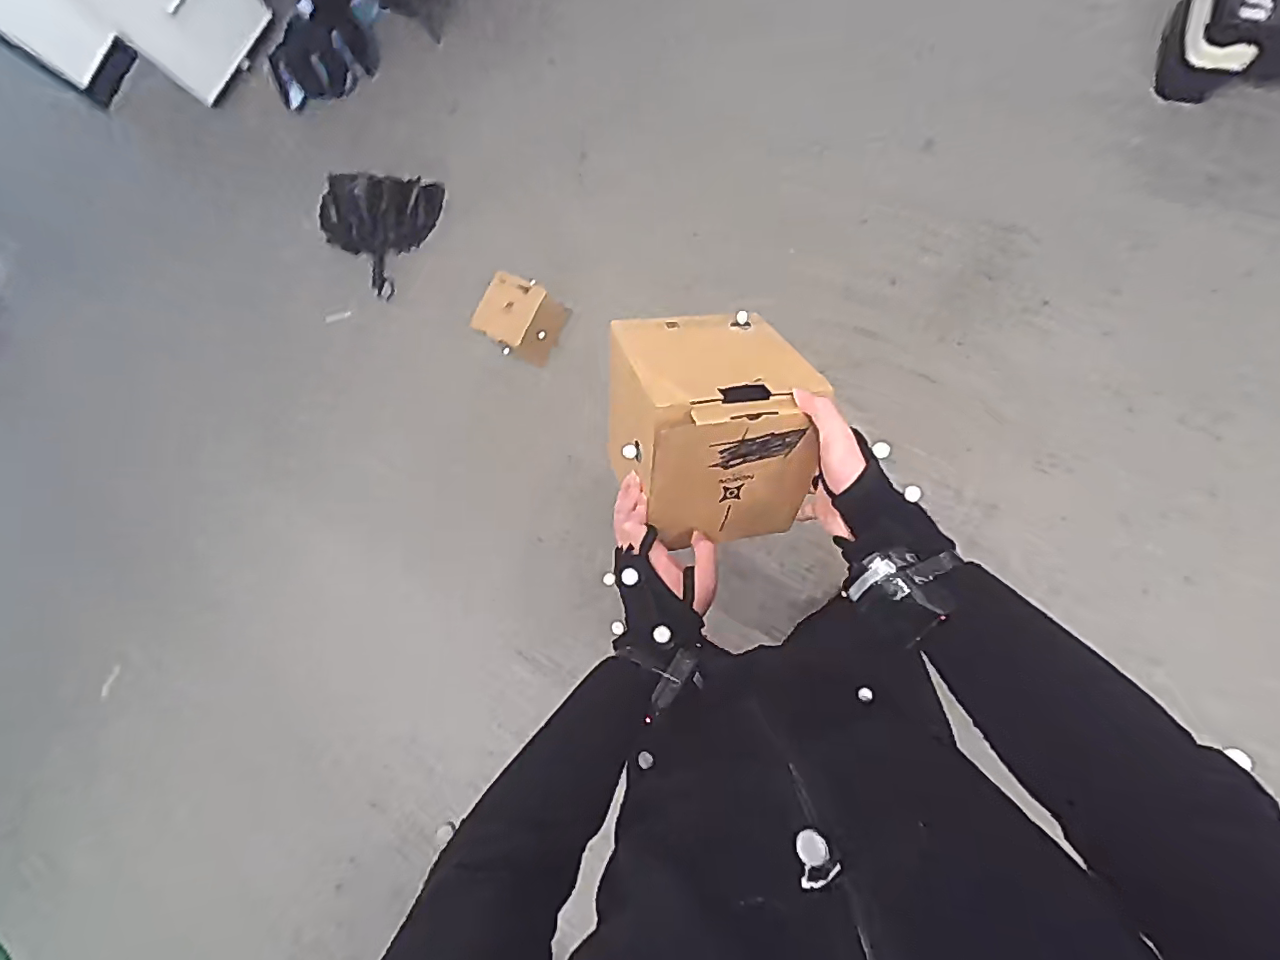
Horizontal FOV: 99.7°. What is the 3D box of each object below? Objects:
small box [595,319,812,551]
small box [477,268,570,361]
[{"bbox_3d":[0.048,-0.056,0.562,0.168,0.179,0.176,-7,41,-12],"label":"small box"},{"bbox_3d":[-0.322,-0.461,1.536,0.168,0.176,0.179,27,91,15],"label":"small box"}]
